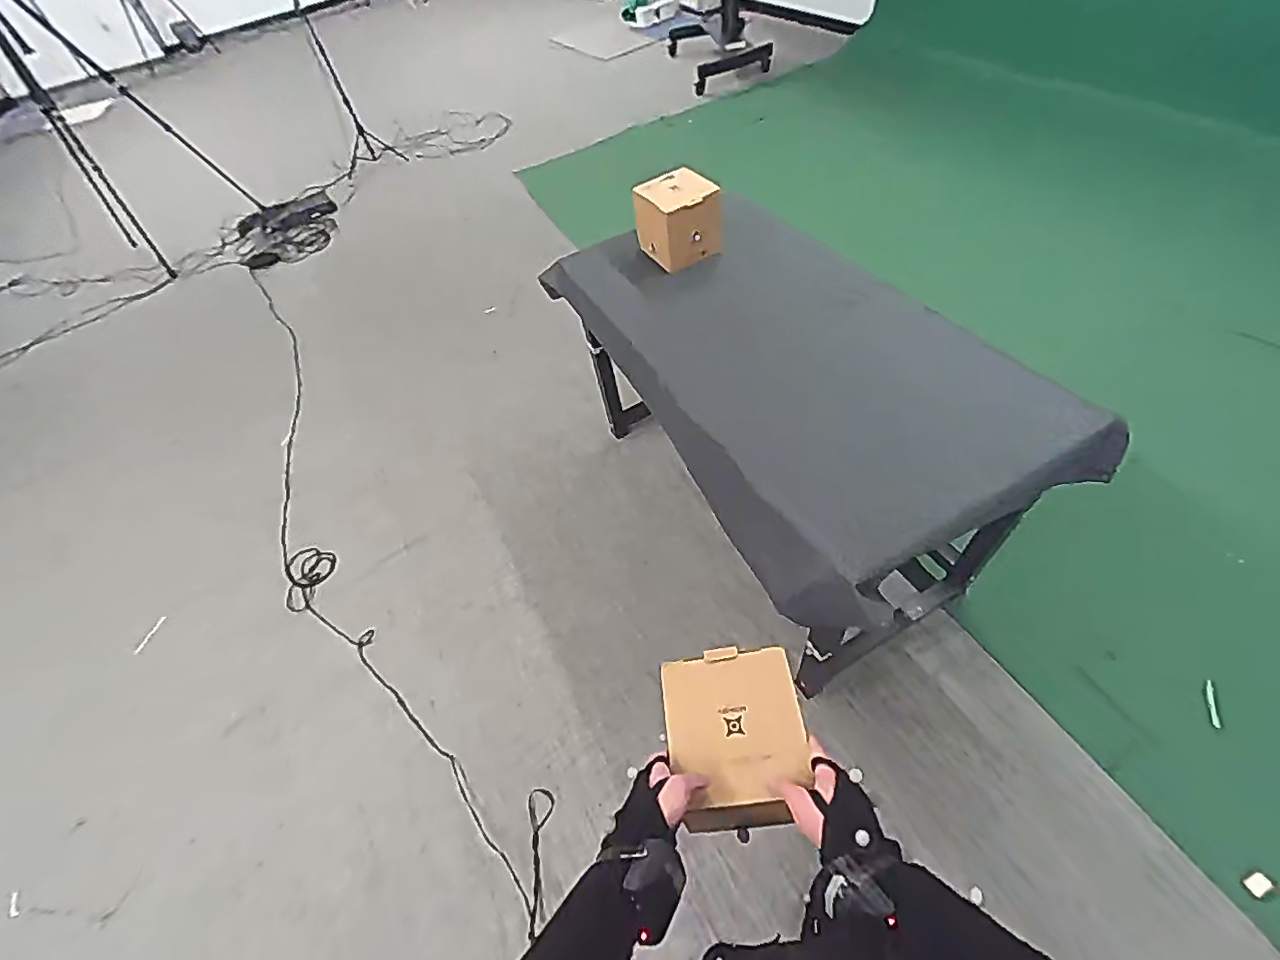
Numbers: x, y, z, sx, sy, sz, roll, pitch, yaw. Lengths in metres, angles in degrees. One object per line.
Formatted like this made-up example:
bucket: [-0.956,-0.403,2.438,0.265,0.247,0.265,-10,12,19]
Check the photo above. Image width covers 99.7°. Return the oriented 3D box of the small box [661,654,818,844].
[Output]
small box: [0.122,0.348,0.697,0.168,0.176,0.179,-9,48,7]

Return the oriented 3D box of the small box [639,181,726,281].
small box: [0.118,-0.661,1.452,0.168,0.176,0.179,-27,54,-12]
